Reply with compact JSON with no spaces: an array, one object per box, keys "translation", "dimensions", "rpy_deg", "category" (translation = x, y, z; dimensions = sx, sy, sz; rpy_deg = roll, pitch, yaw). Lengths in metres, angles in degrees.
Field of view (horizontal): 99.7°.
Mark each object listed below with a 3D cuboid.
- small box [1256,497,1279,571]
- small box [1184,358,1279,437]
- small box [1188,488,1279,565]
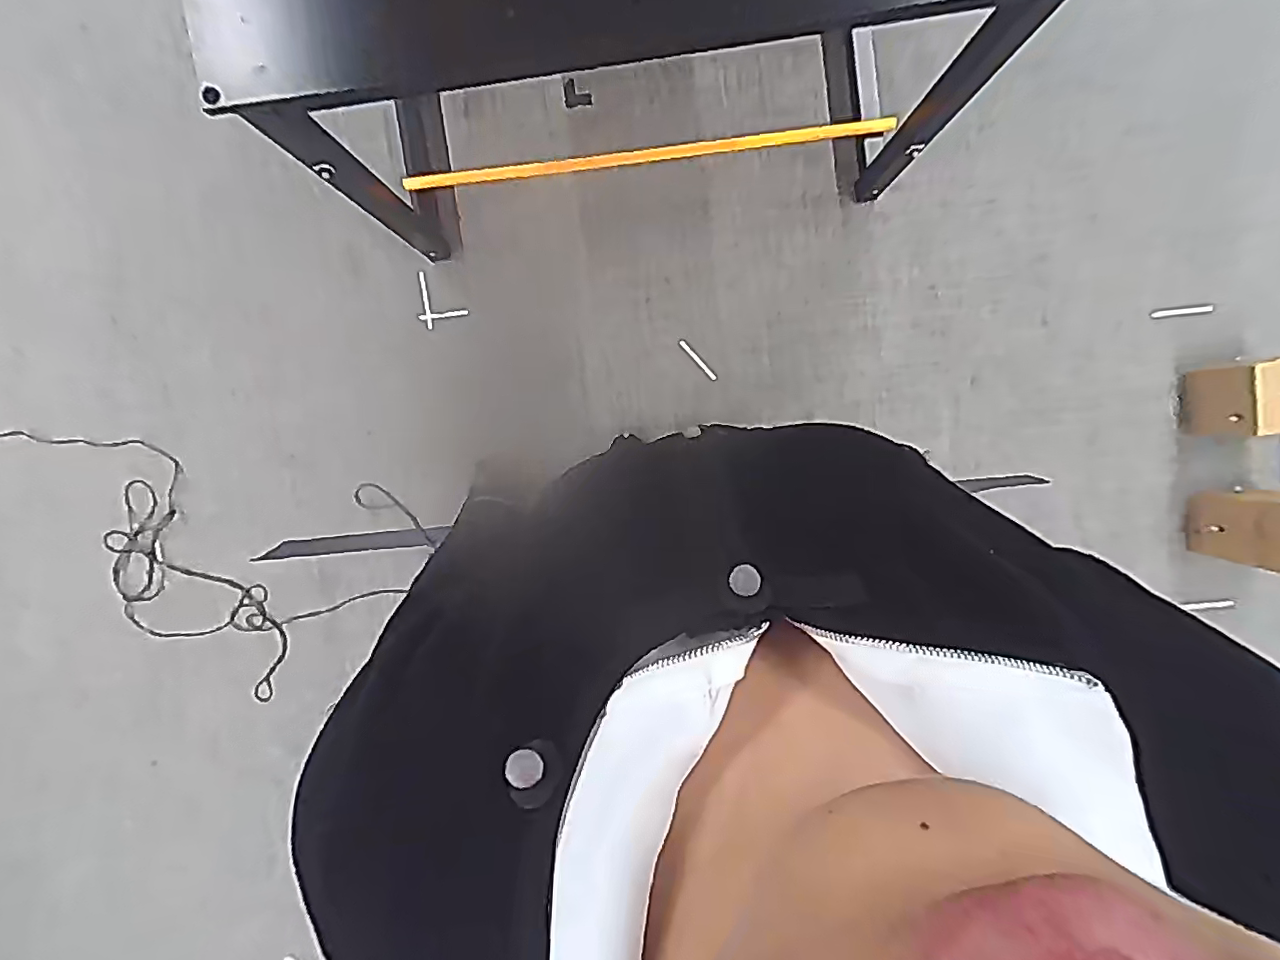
[{"translation":[1.567,0.128,1.223],"dimensions":[0.168,0.176,0.179],"rpy_deg":[-6,96,2],"category":"small box"},{"translation":[1.527,-0.208,1.354],"dimensions":[0.168,0.176,0.179],"rpy_deg":[-9,95,2],"category":"small box"},{"translation":[1.571,0.116,1.388],"dimensions":[0.179,0.176,0.168],"rpy_deg":[-5,96,3],"category":"small box"}]
